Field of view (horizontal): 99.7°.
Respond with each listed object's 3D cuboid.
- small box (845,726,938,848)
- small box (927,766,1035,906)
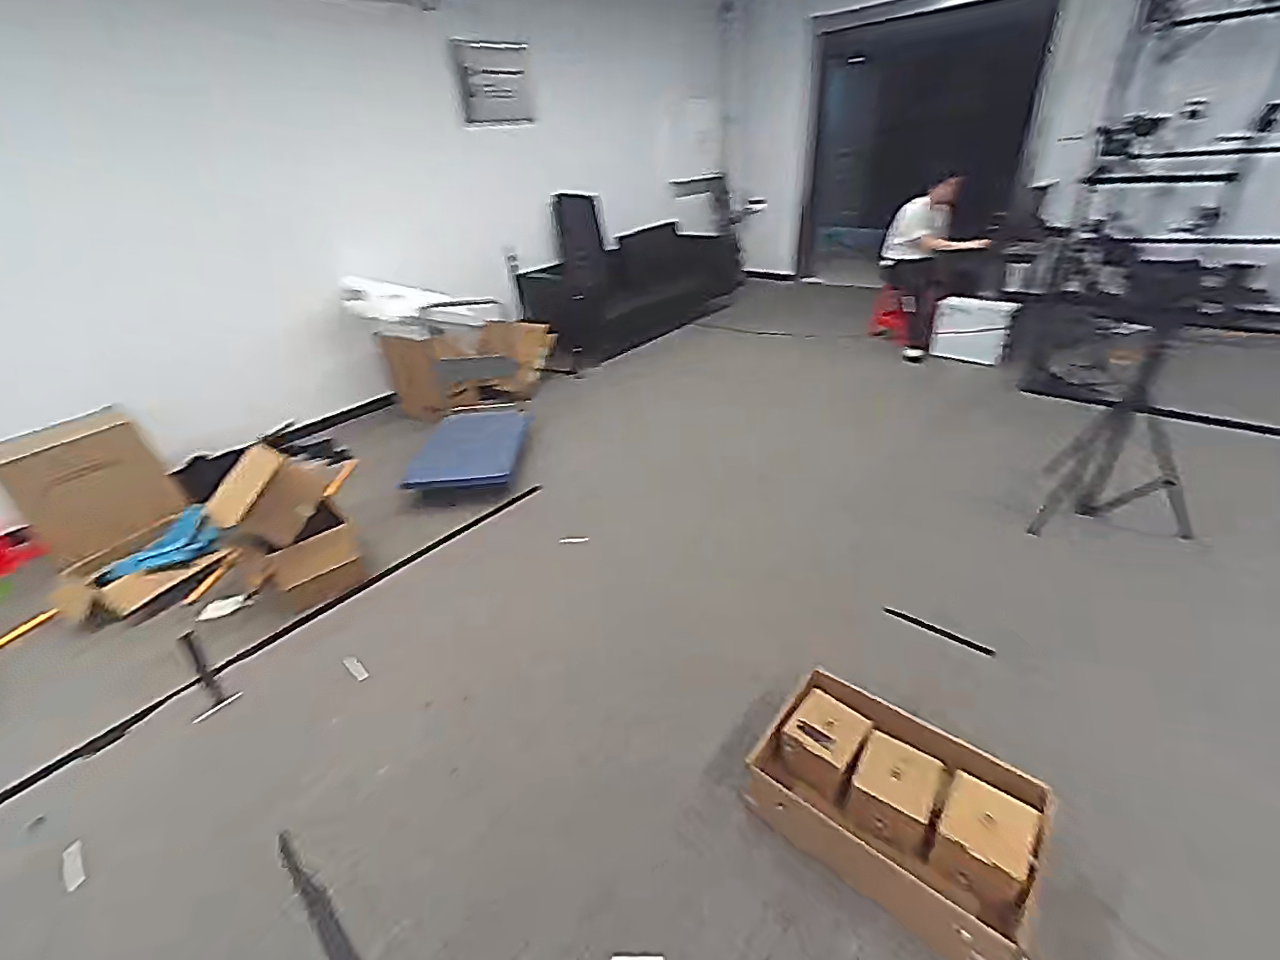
[{"bbox_3d":[0.629,0.775,1.363,0.168,0.176,0.179,18,39,31],"label":"small box"},{"bbox_3d":[0.788,0.825,1.258,0.168,0.176,0.179,18,39,36],"label":"small box"}]
